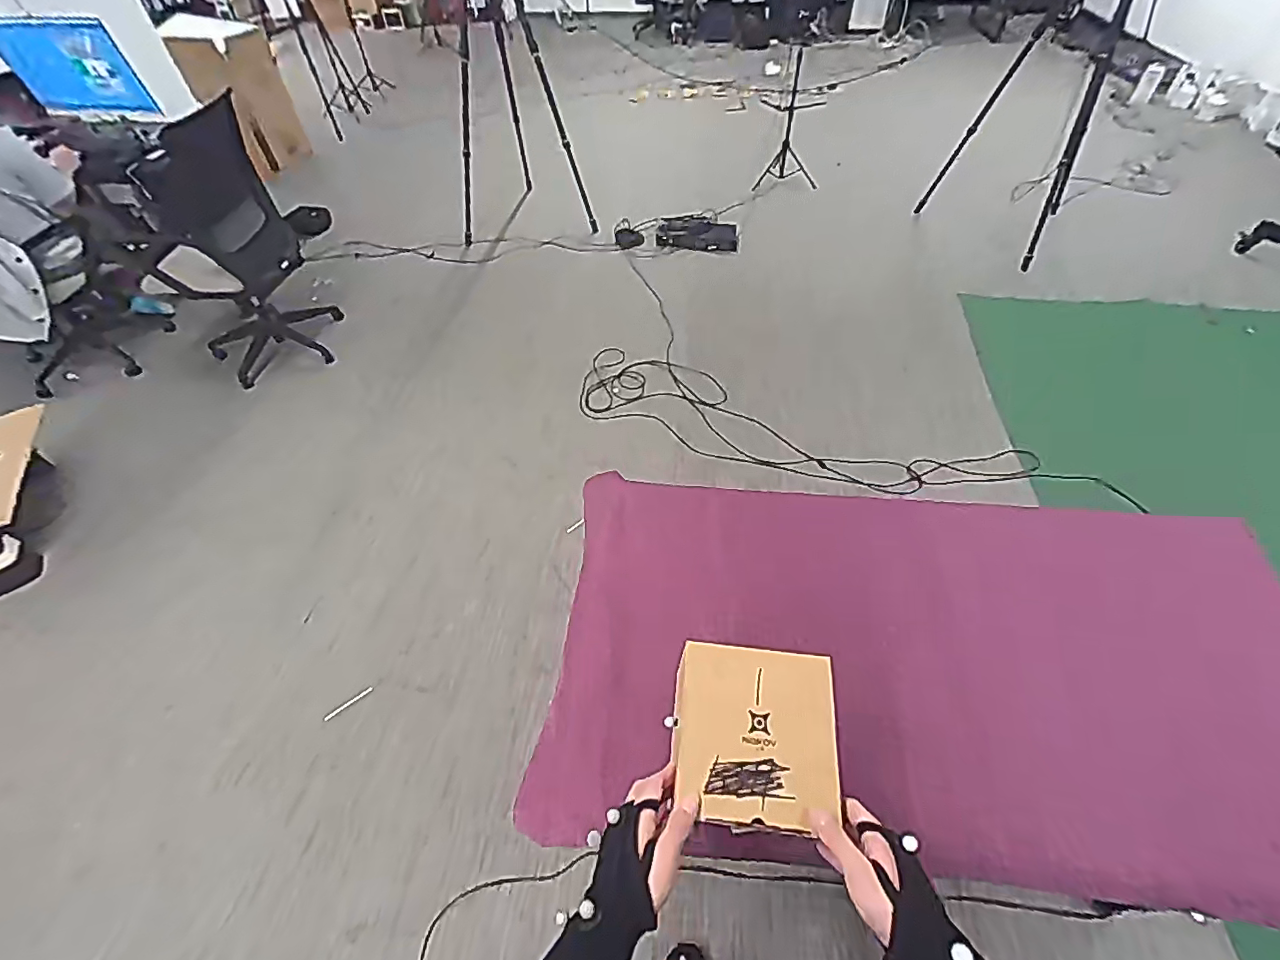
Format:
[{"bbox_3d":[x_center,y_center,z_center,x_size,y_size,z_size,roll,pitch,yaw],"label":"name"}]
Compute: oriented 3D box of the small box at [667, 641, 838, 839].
[{"bbox_3d":[0.123,0.309,0.640,0.168,0.176,0.179,6,57,3],"label":"small box"}]
